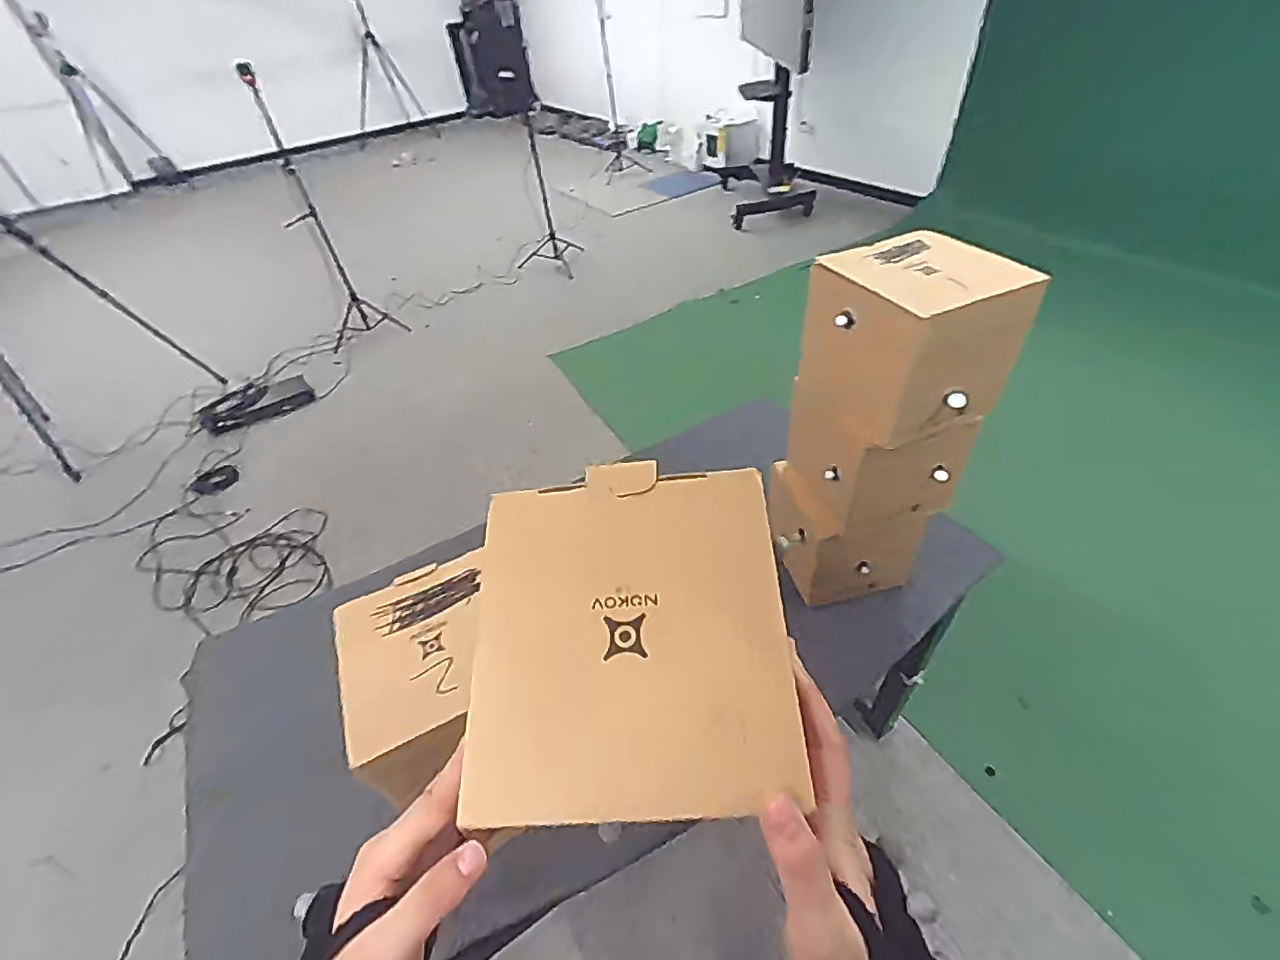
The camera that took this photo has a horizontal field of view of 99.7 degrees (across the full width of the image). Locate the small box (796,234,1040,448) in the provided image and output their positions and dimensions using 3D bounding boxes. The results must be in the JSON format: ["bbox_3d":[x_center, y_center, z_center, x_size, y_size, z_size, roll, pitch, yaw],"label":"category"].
[{"bbox_3d":[0.304,-0.166,0.638,0.168,0.176,0.179,-20,44,-13],"label":"small box"}]

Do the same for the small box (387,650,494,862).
[{"bbox_3d":[-0.185,0.325,0.674,0.168,0.176,0.179,-27,46,-19],"label":"small box"}]

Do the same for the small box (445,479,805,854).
[{"bbox_3d":[0.000,0.119,0.343,0.168,0.176,0.179,-6,62,6],"label":"small box"}]

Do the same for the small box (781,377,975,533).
[{"bbox_3d":[0.311,-0.047,0.751,0.168,0.176,0.179,-15,41,-9],"label":"small box"}]

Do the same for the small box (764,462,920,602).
[{"bbox_3d":[0.306,0.074,0.861,0.168,0.176,0.179,-12,41,-5],"label":"small box"}]
